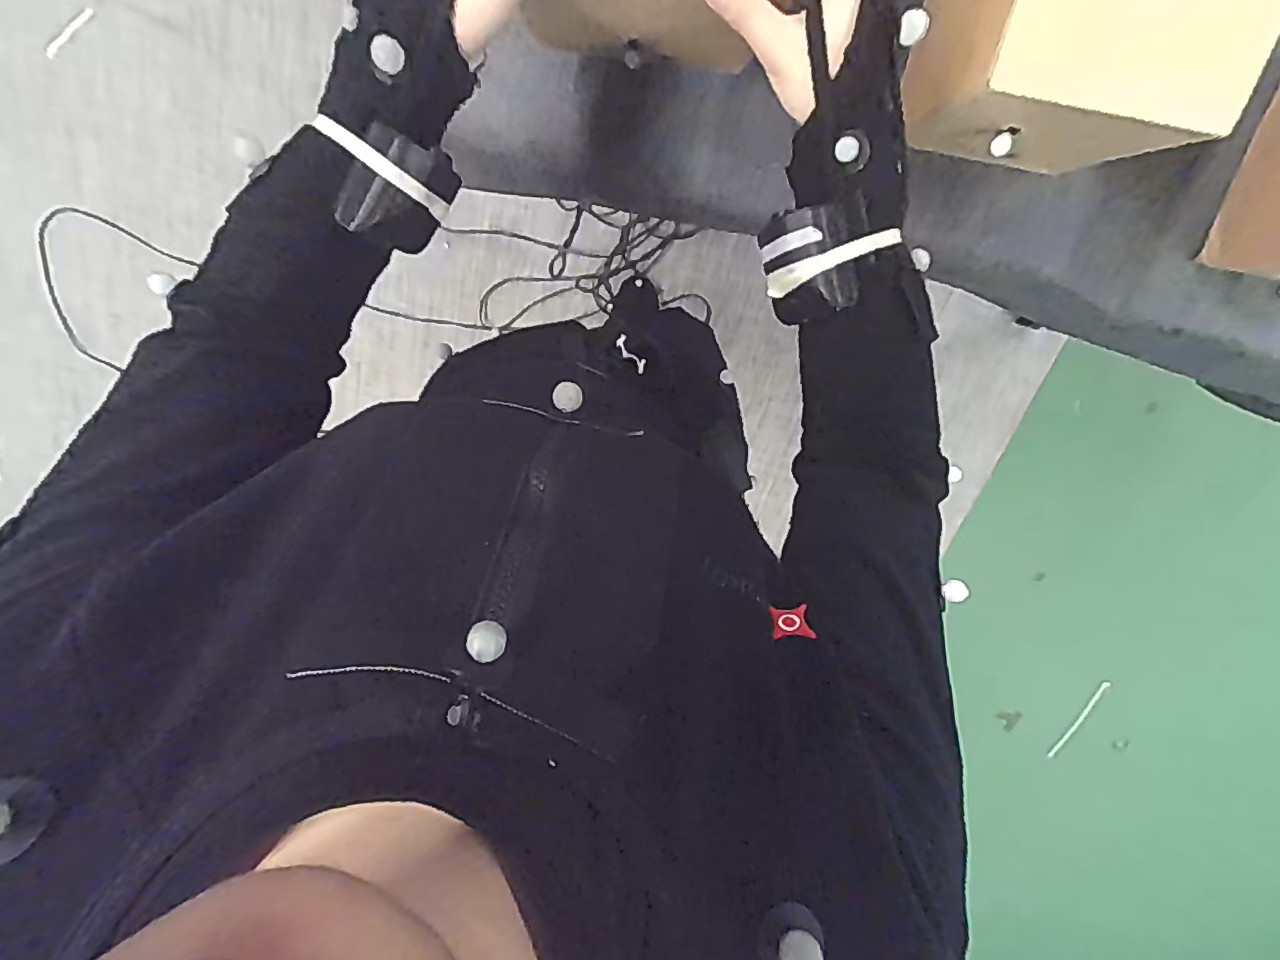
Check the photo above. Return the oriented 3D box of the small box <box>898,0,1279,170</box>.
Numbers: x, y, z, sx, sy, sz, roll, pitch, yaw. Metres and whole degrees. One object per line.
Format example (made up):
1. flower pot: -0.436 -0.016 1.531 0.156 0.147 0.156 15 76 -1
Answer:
1. small box: 0.317 -0.345 0.394 0.168 0.176 0.179 9 111 -3

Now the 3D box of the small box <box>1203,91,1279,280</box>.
1. small box: 0.627 -0.250 0.426 0.168 0.176 0.179 8 112 -1
